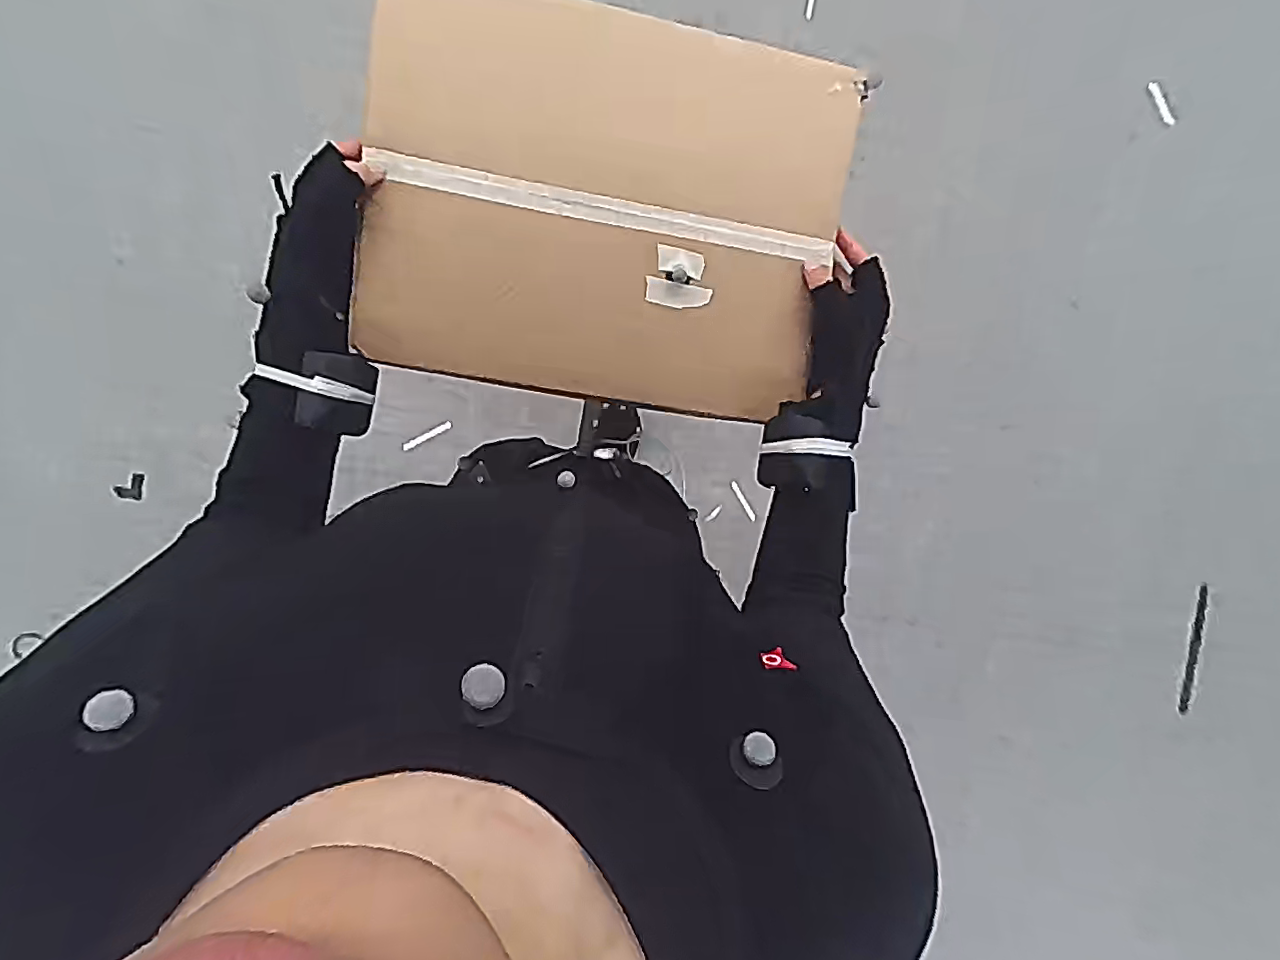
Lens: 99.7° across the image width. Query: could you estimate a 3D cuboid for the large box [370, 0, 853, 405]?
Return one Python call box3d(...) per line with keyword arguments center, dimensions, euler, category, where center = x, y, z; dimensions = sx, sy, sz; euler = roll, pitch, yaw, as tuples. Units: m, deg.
box3d(center=(-0.042, -0.264, 0.621), dimensions=(0.408, 0.320, 0.320), euler=(7, 99, -8), category="large box")
